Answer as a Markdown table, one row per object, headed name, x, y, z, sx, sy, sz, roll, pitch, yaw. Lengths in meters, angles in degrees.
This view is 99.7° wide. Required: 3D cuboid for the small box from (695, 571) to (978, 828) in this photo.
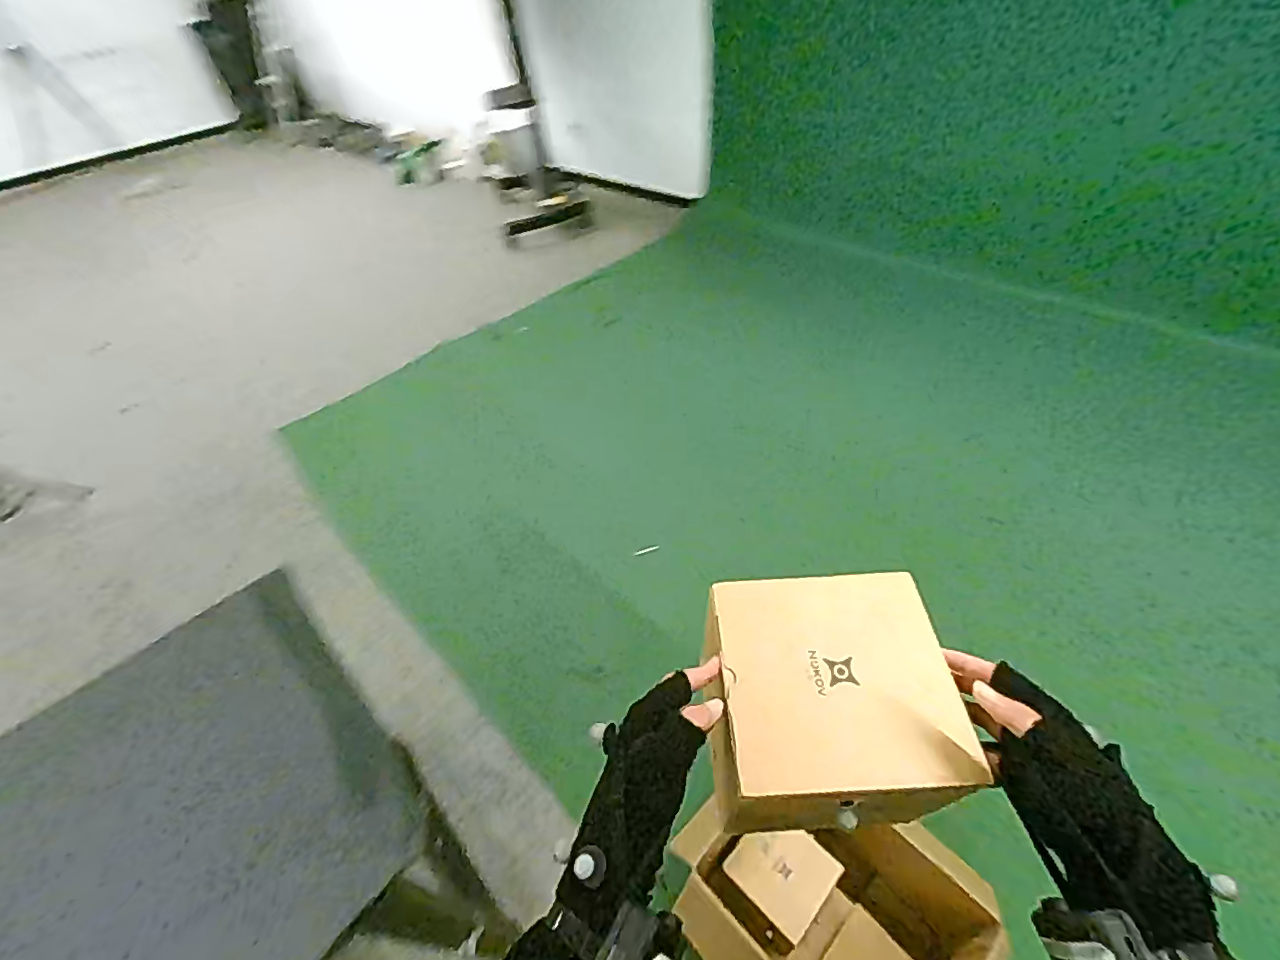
| name | x | y | z | sx | sy | sz | roll | pitch | yaw |
| --- | --- | --- | --- | --- | --- | --- | --- | --- | --- |
| small box | 0.146 | 0.198 | 0.480 | 0.179 | 0.176 | 0.168 | -5 | 50 | 0 |
